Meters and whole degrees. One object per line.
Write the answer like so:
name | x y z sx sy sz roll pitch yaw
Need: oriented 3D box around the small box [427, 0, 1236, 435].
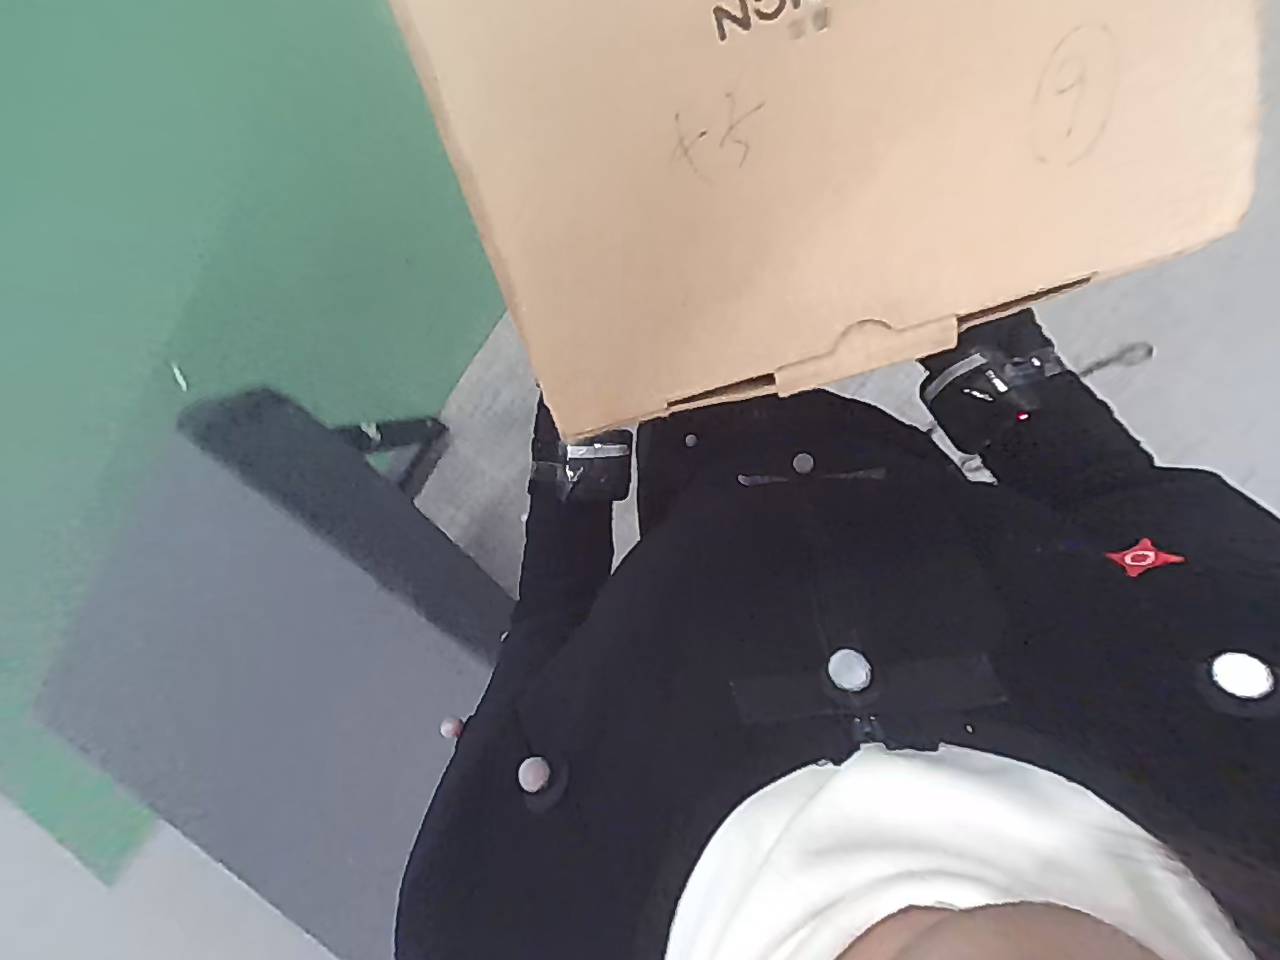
small box | 0.042 -0.137 0.190 0.168 0.176 0.179 -14 109 9
